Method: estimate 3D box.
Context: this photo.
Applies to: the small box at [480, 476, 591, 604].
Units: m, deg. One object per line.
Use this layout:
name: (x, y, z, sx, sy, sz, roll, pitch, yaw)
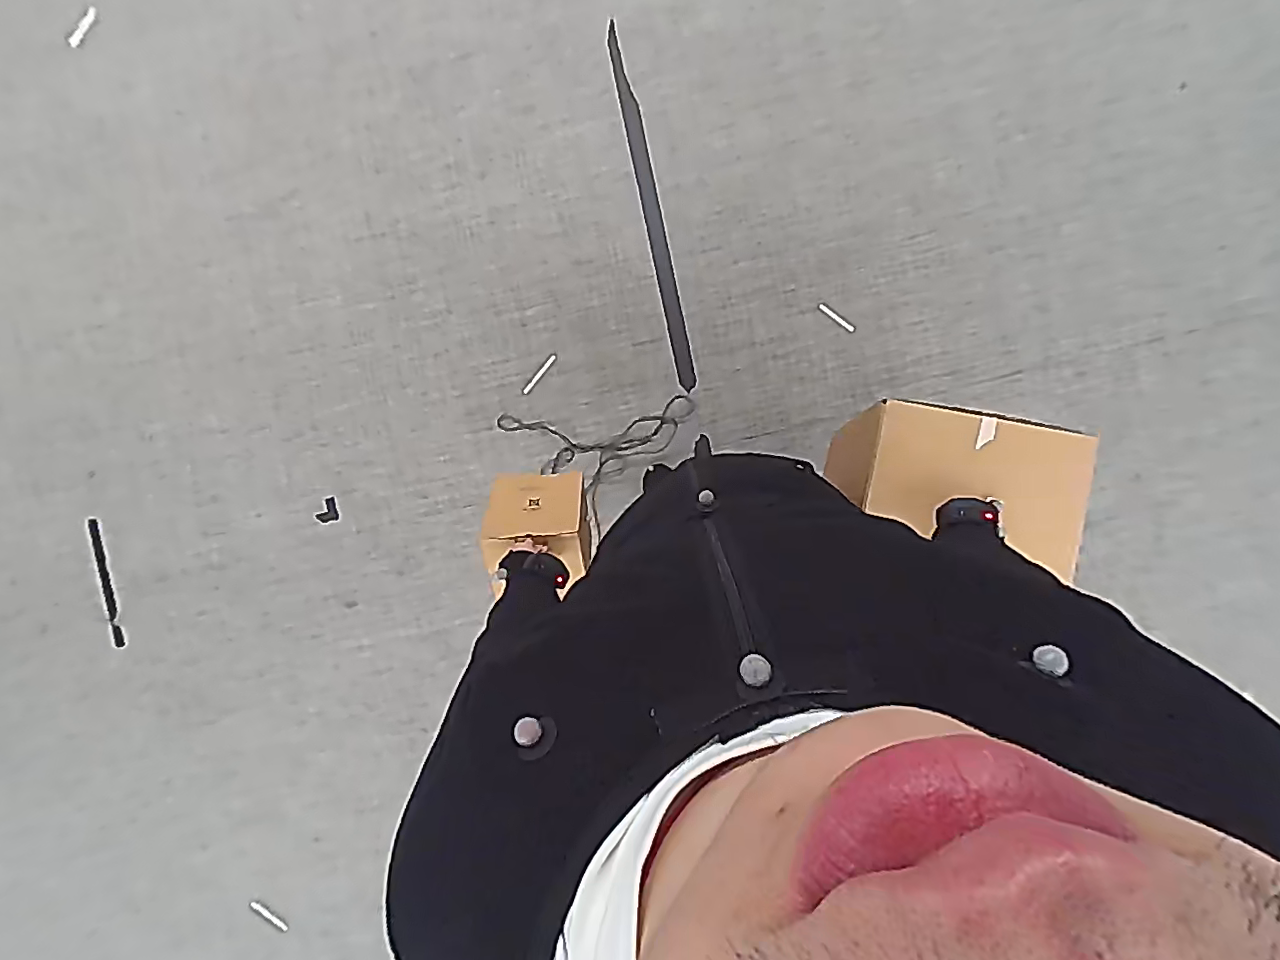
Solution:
small box: (-0.181, 0.114, 0.994, 0.168, 0.179, 0.176, -4, 124, -1)
